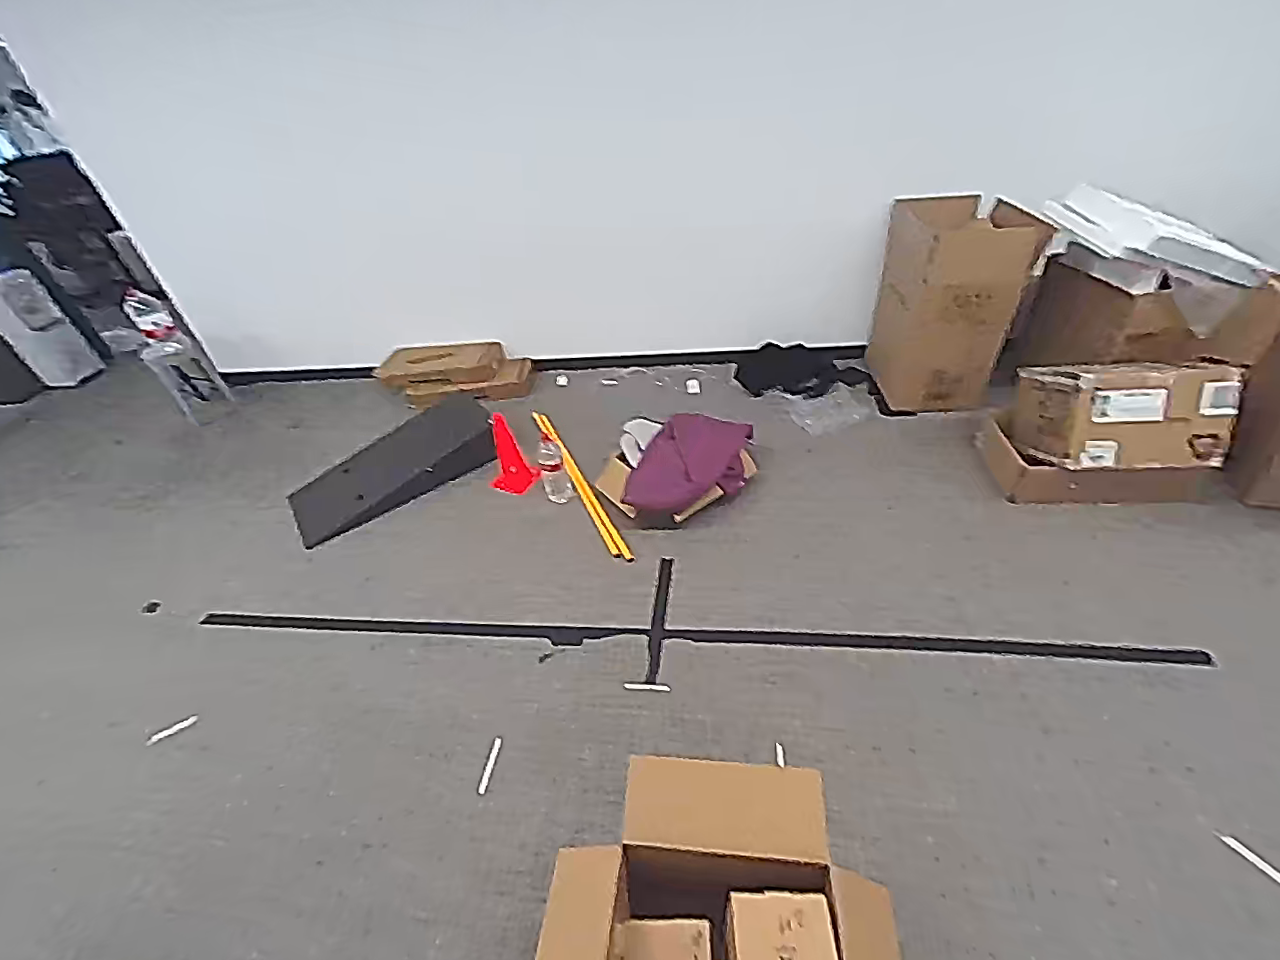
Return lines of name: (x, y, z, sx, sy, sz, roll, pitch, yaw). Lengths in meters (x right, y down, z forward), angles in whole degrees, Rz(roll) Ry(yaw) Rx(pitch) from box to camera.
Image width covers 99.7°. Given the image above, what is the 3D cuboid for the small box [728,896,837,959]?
small box: (0.244, 0.846, 0.928, 0.168, 0.176, 0.179, -1, 39, 3)
